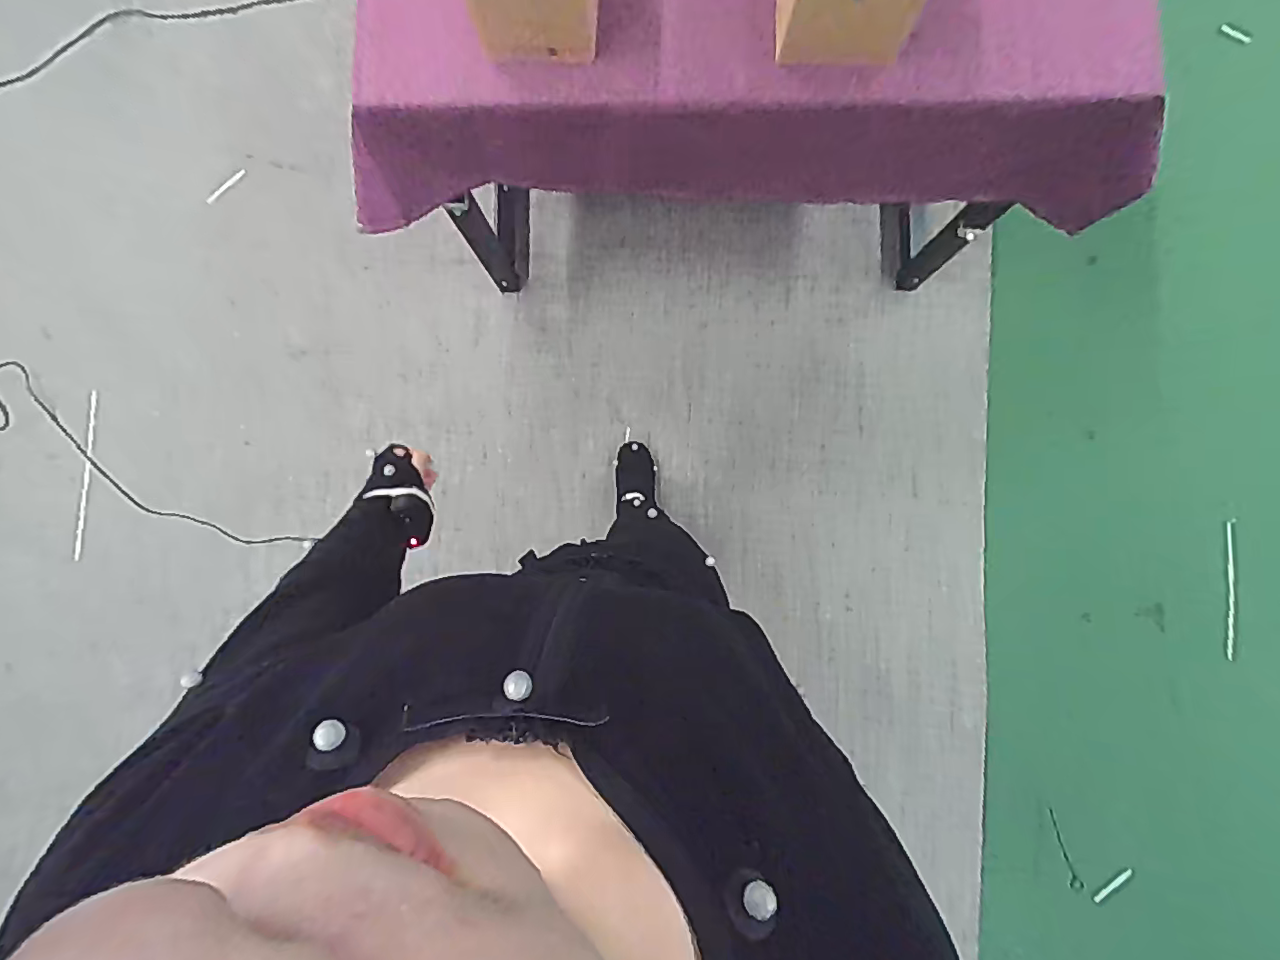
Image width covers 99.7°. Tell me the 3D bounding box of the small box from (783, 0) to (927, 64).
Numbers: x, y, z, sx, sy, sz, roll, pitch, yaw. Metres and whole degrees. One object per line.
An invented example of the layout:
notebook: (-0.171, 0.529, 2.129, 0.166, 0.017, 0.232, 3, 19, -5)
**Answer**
small box: (0.298, -0.702, 0.726, 0.179, 0.176, 0.168, 2, 87, 1)

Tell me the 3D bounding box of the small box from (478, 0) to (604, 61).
small box: (-0.138, -0.724, 0.734, 0.168, 0.176, 0.179, 3, 86, 2)
